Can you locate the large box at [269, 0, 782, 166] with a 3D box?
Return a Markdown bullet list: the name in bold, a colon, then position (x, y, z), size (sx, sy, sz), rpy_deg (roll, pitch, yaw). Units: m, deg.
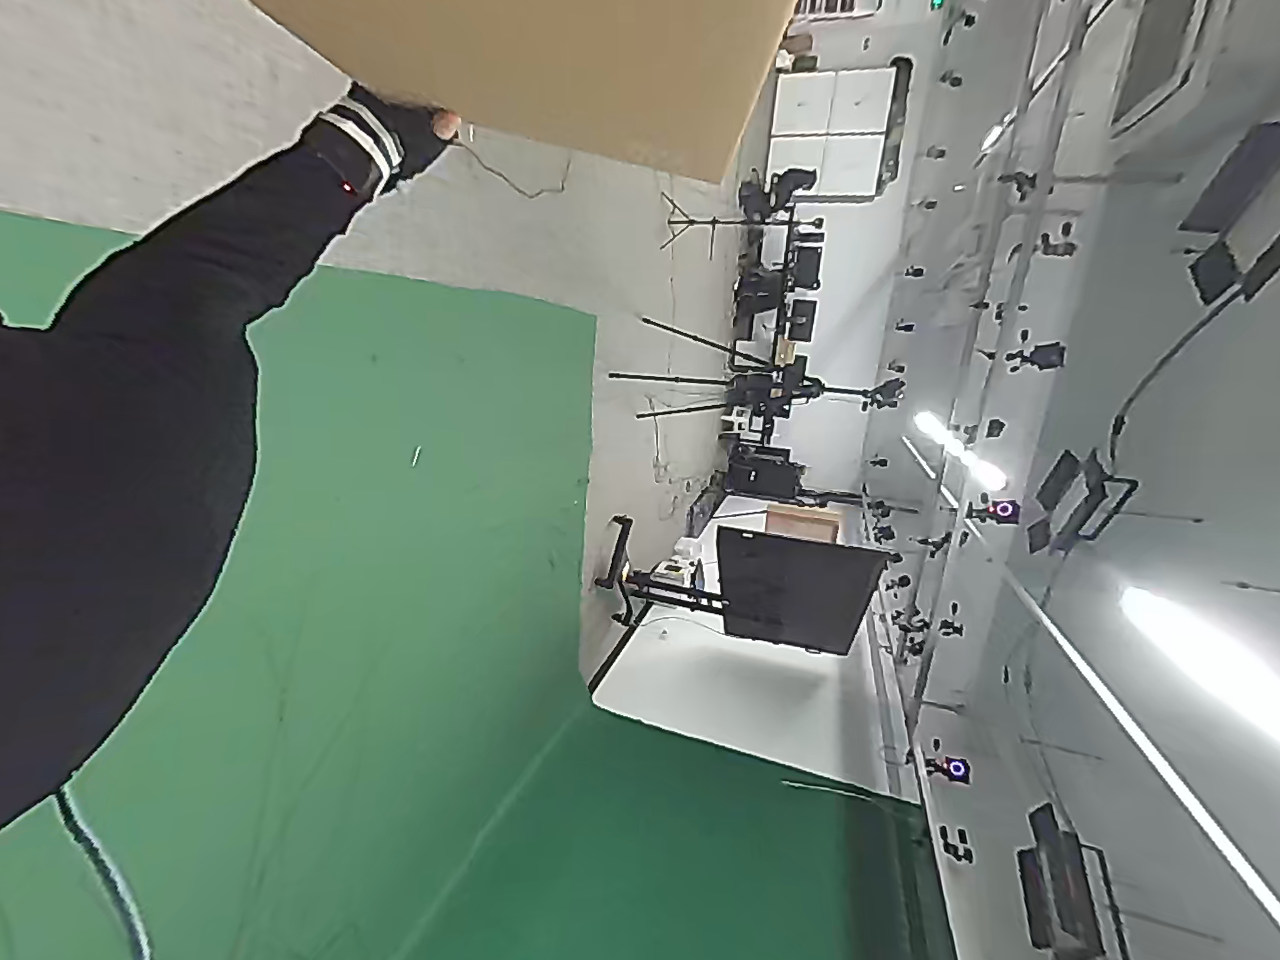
- **large box**: position (-0.057, -0.392, 0.251), size (0.408, 0.320, 0.320), rpy_deg (-85, -172, -72)
